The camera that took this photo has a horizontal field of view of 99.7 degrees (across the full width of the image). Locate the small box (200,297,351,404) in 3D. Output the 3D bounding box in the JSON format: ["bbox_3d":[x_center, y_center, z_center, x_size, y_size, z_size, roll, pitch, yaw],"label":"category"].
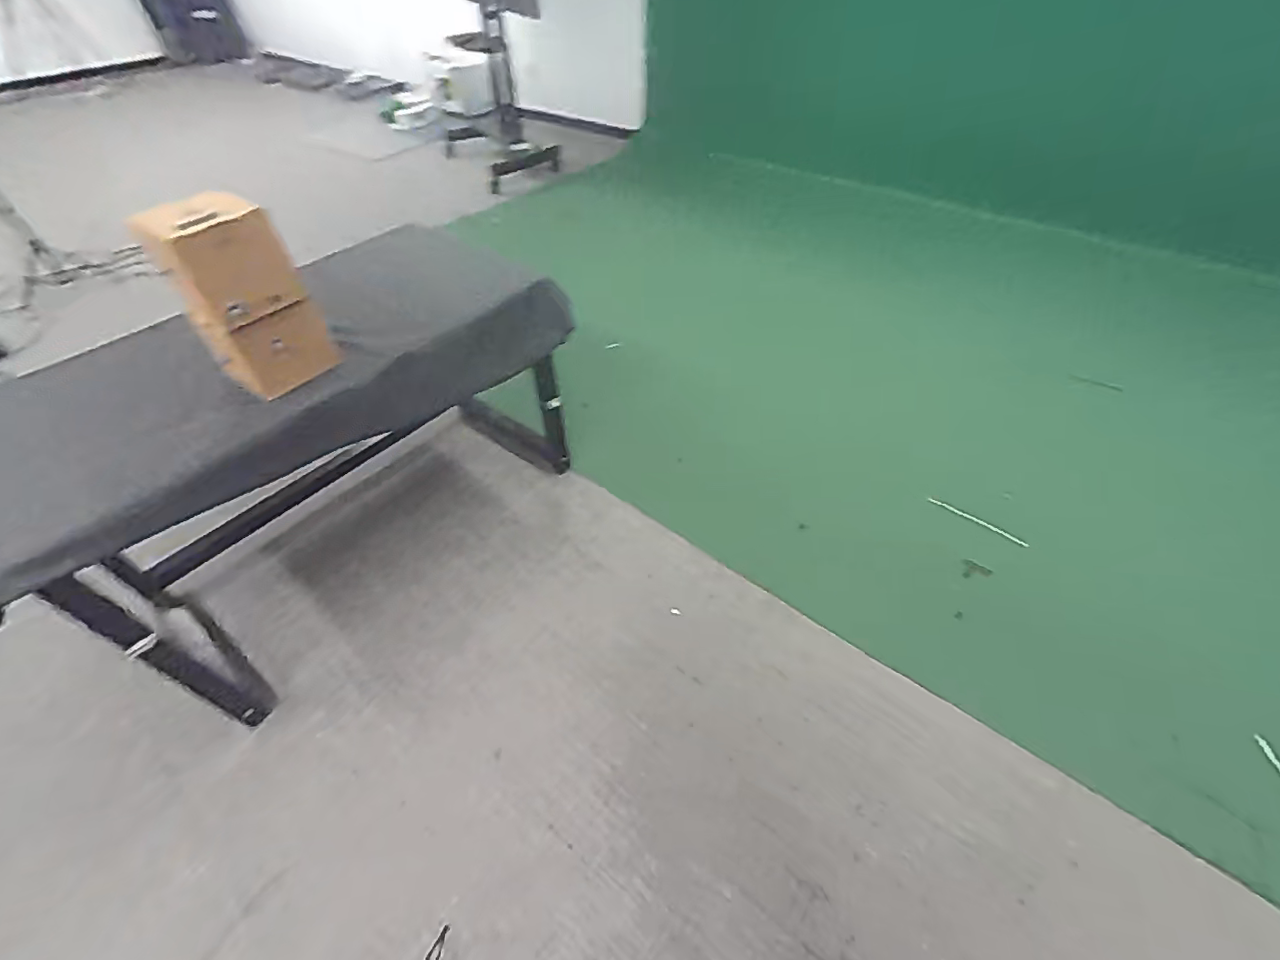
[{"bbox_3d":[-0.759,-0.286,1.143,0.168,0.176,0.179,23,51,25],"label":"small box"}]

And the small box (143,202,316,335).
[{"bbox_3d":[-0.757,-0.394,1.016,0.179,0.176,0.168,27,53,27],"label":"small box"}]
